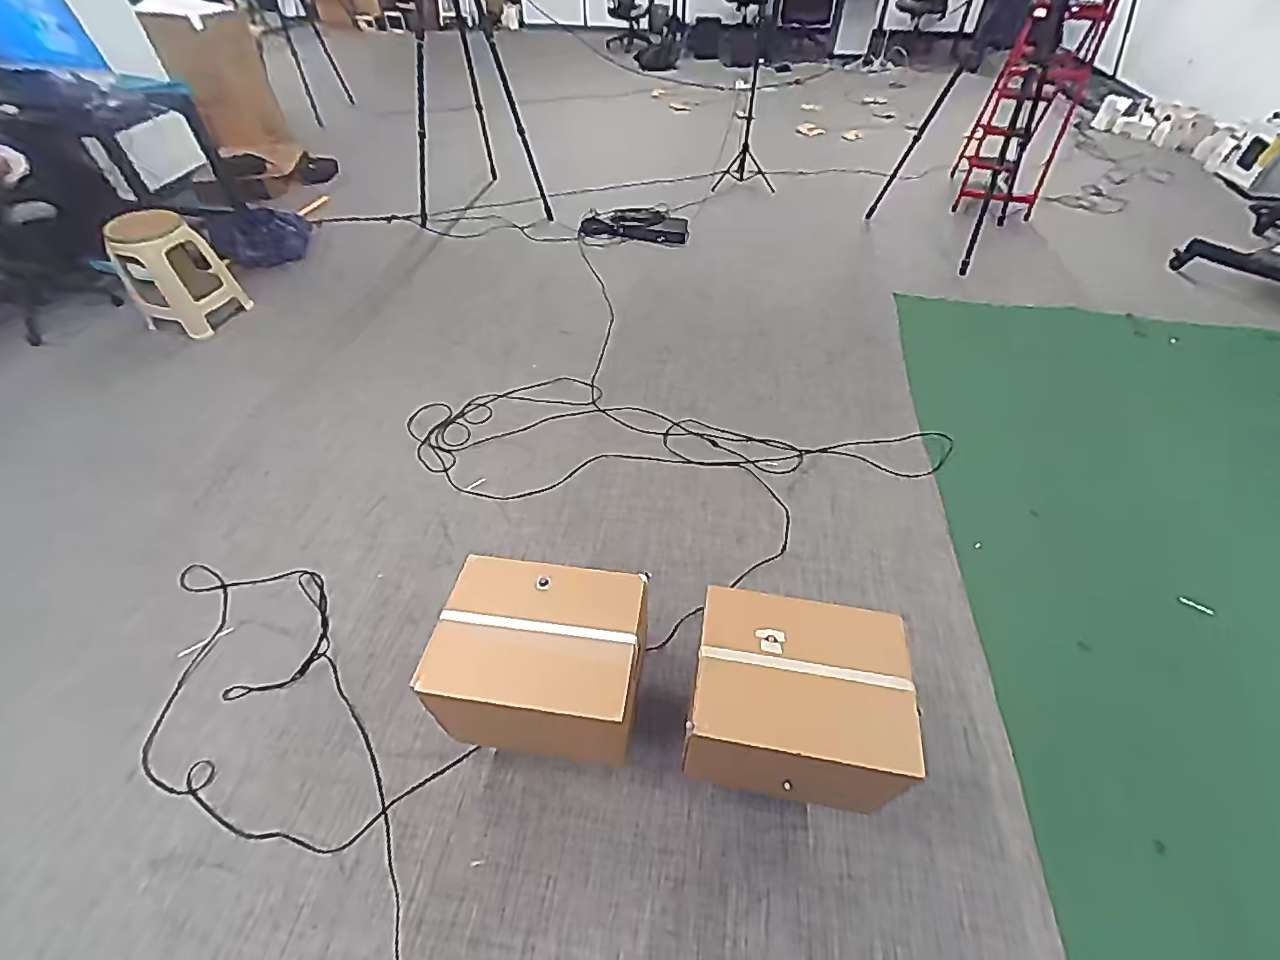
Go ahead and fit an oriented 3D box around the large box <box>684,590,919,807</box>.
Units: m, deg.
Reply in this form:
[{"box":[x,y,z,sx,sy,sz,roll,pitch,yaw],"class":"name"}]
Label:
[{"box":[0.318,0.473,1.167,0.408,0.320,0.320,8,48,7],"class":"large box"}]
